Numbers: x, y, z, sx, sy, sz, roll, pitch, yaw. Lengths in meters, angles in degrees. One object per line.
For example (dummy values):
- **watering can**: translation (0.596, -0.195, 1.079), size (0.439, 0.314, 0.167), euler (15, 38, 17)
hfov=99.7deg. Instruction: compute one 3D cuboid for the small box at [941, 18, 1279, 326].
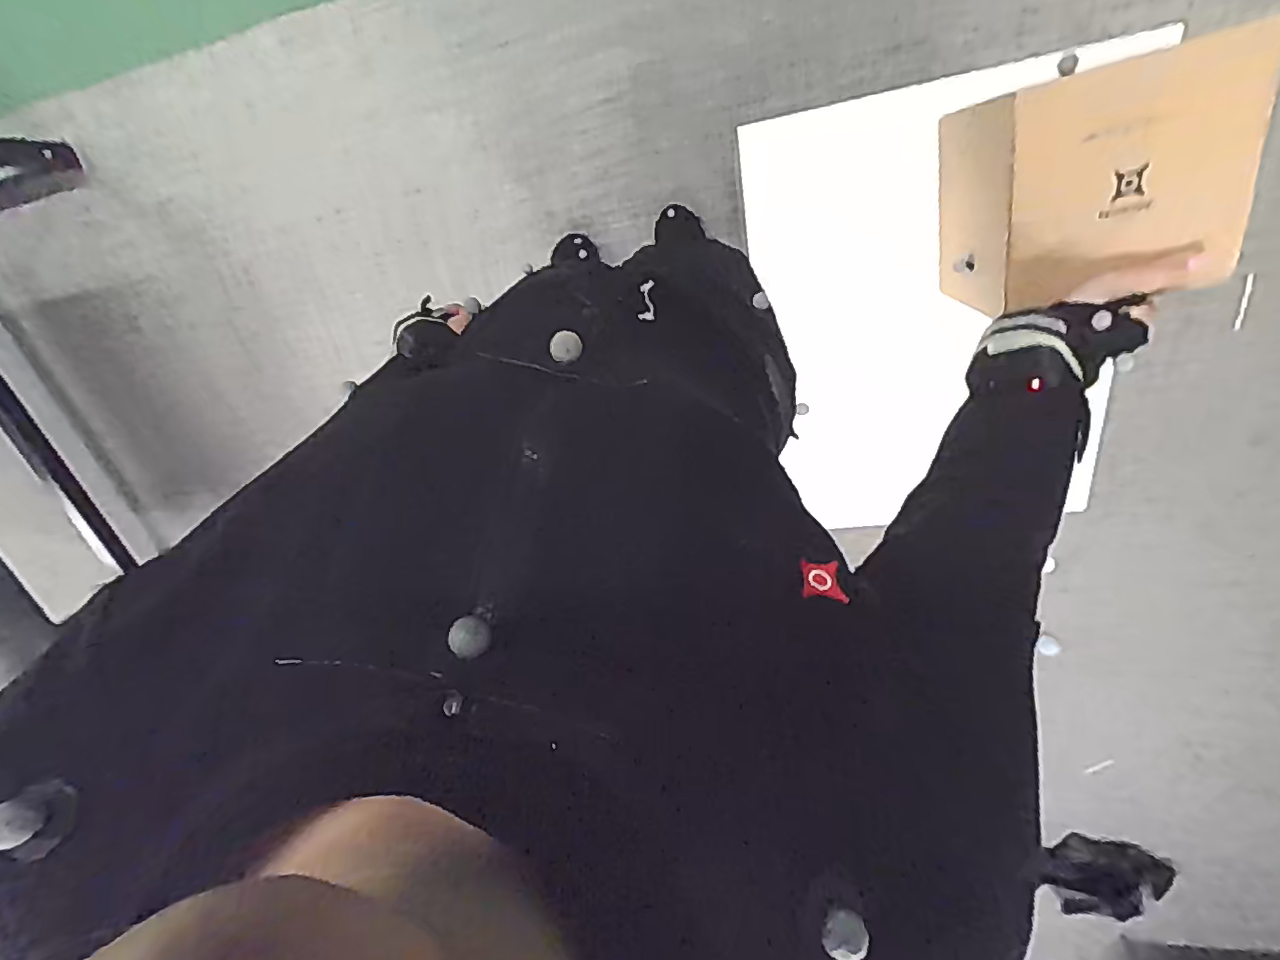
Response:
- **small box**: translation (0.385, -0.257, 0.480), size (0.168, 0.176, 0.179), euler (-10, 115, 13)
